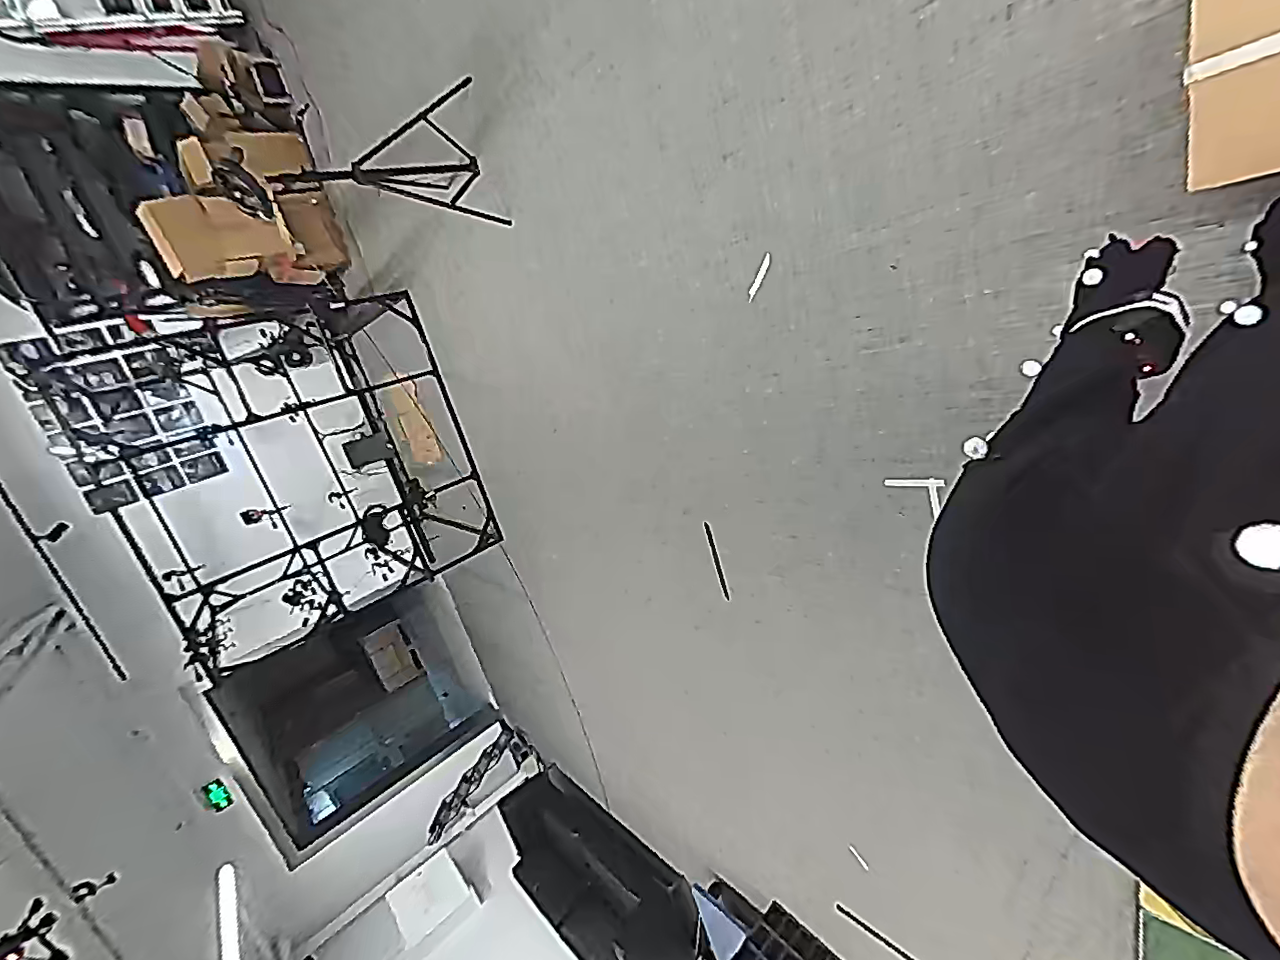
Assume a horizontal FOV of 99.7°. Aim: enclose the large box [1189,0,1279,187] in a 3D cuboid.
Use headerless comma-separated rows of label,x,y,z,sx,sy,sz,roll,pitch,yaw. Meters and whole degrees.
large box,0.997,-0.615,0.687,0.408,0.320,0.320,4,116,50
